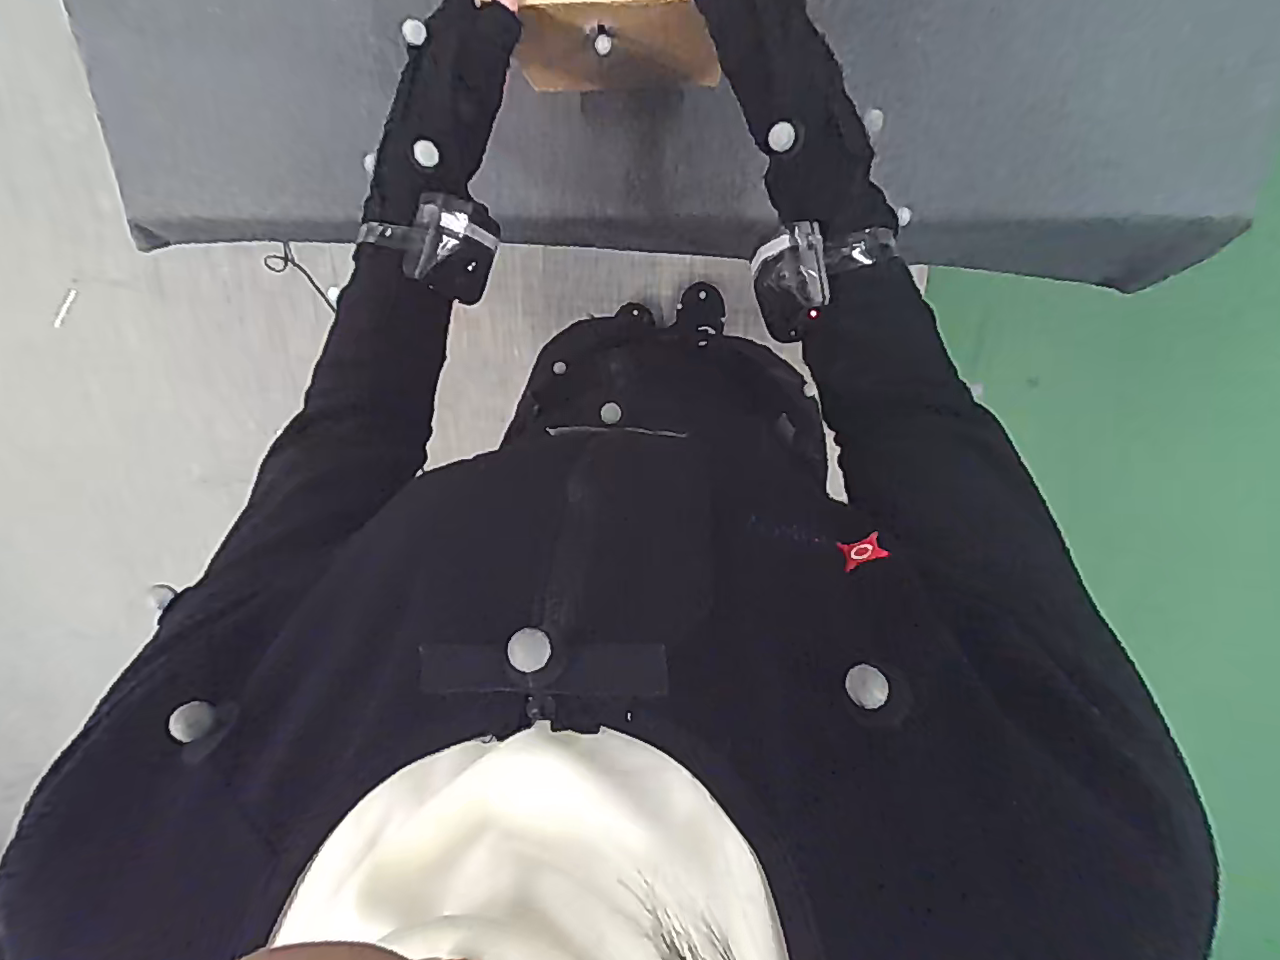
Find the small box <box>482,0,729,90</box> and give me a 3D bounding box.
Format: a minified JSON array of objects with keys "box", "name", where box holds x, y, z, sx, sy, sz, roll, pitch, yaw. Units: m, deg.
[{"box":[-0.018,-0.427,0.418,0.179,0.176,0.168,0,109,4],"name":"small box"}]
